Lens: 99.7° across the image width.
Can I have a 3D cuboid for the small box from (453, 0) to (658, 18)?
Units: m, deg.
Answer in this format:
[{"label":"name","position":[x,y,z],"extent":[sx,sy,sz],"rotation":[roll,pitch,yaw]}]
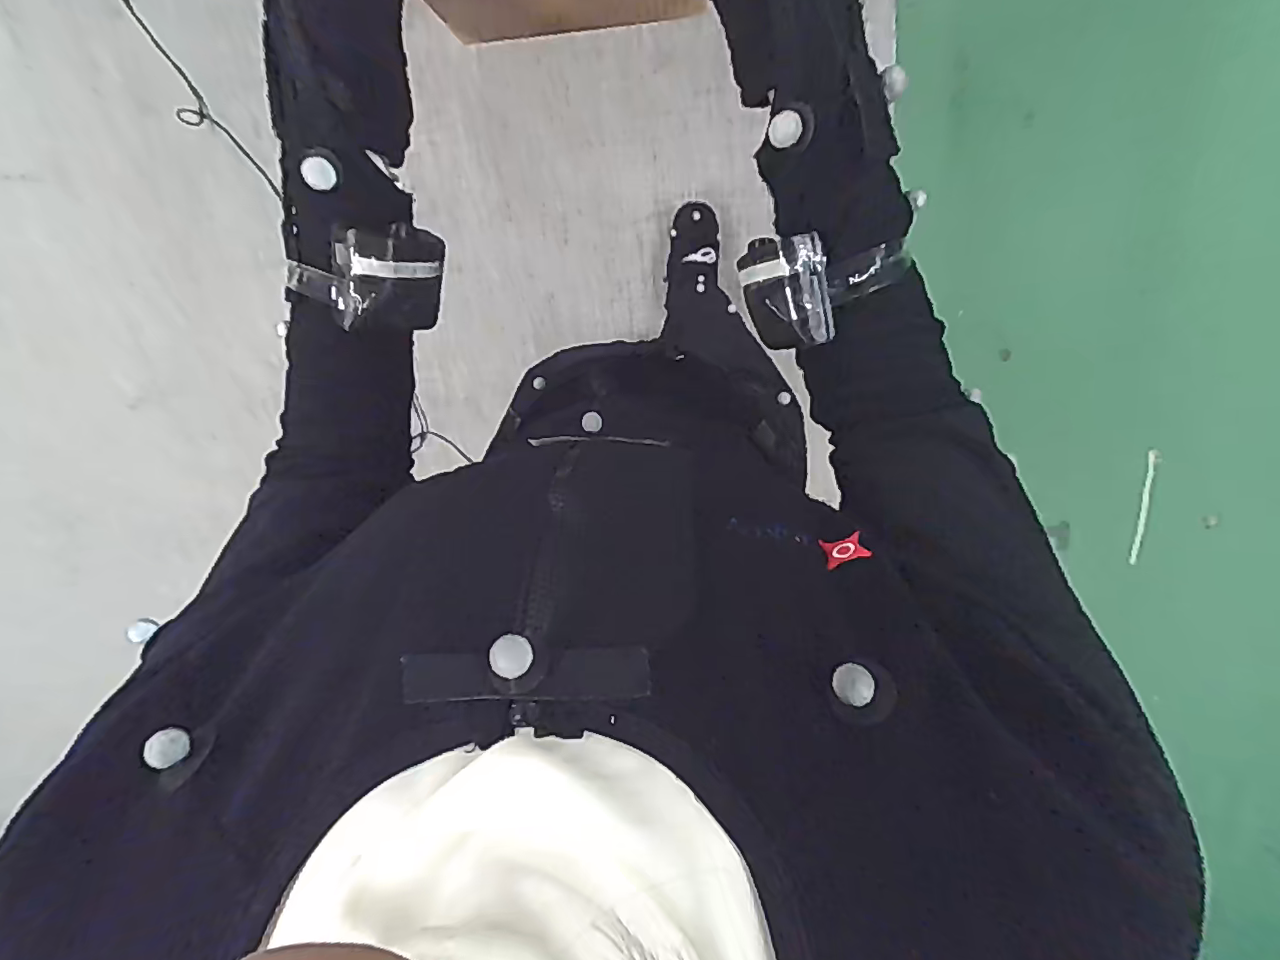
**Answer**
[{"label":"small box","position":[-0.054,-0.377,0.275],"extent":[0.179,0.176,0.168],"rotation":[-2,107,6]}]
